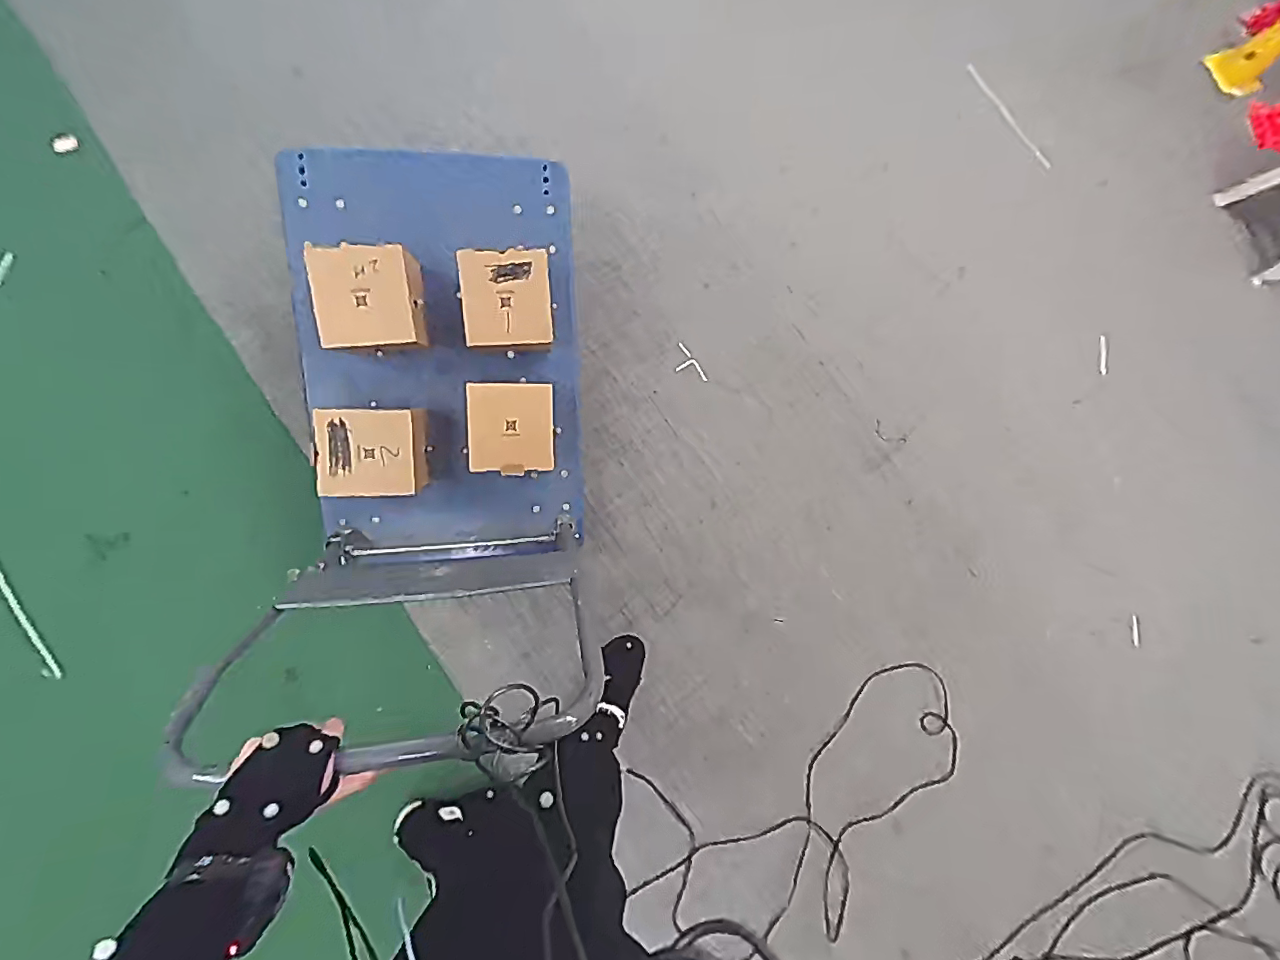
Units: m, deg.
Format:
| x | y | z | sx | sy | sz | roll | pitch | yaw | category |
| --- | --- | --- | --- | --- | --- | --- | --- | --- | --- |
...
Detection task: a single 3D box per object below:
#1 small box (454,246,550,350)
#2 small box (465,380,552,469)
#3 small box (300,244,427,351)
| x | y | z | sx | sy | sz | roll | pitch | yaw | category |
| --- | --- | --- | --- | --- | --- | --- | --- | --- | --- |
| -0.275 | -0.362 | 1.099 | 0.168 | 0.176 | 0.179 | -5 | 101 | -9 | small box |
| -0.273 | -0.120 | 1.140 | 0.168 | 0.176 | 0.179 | -1 | 100 | -10 | small box |
| -0.526 | -0.347 | 1.055 | 0.168 | 0.176 | 0.179 | -7 | 100 | -10 | small box |
